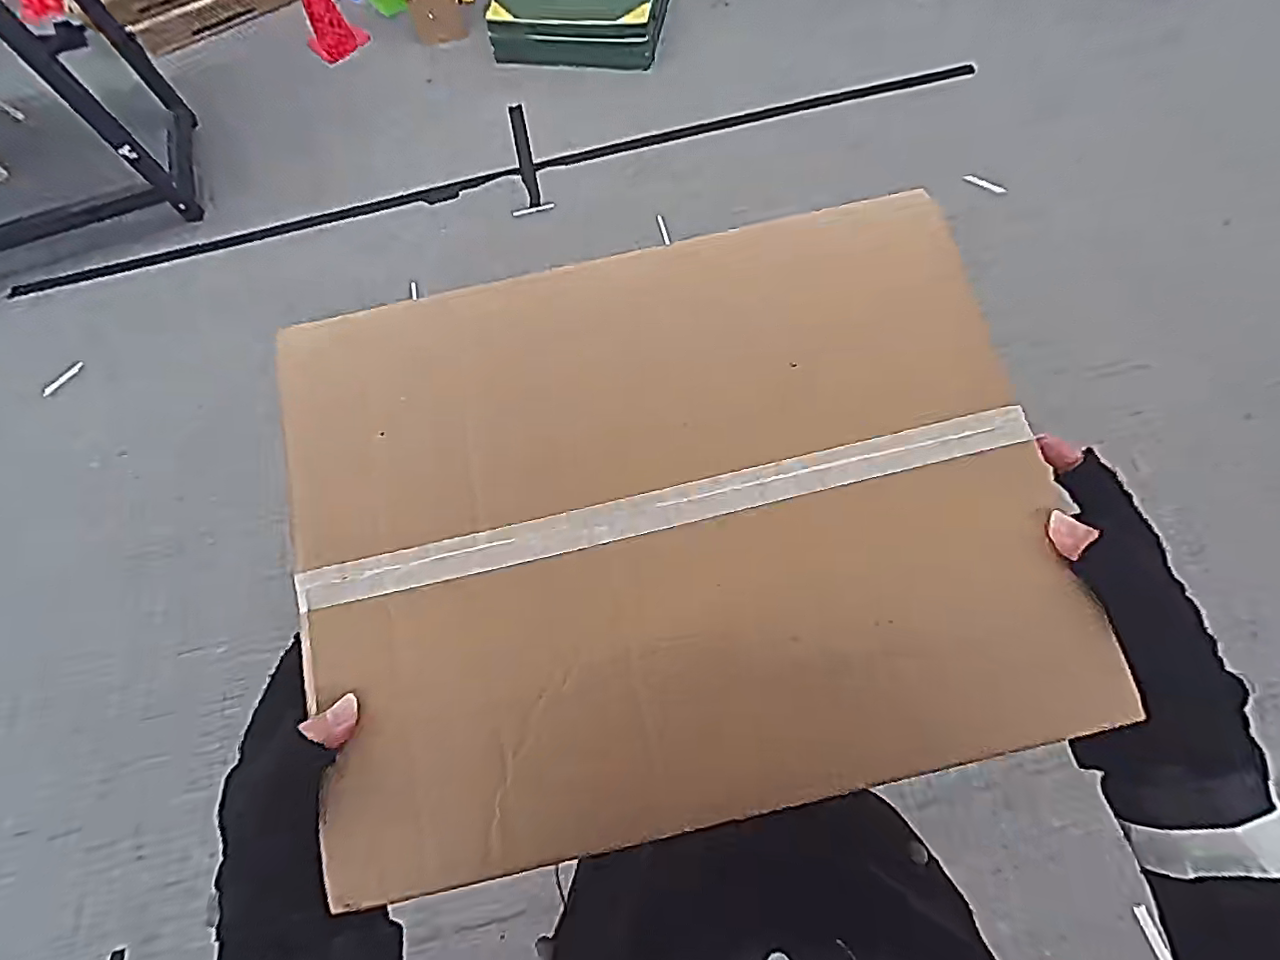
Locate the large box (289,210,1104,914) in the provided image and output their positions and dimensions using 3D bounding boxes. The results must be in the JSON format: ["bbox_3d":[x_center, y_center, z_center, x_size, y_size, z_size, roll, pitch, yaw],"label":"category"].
[{"bbox_3d":[0.019,0.052,0.448,0.408,0.320,0.320,-14,77,-1],"label":"large box"}]
